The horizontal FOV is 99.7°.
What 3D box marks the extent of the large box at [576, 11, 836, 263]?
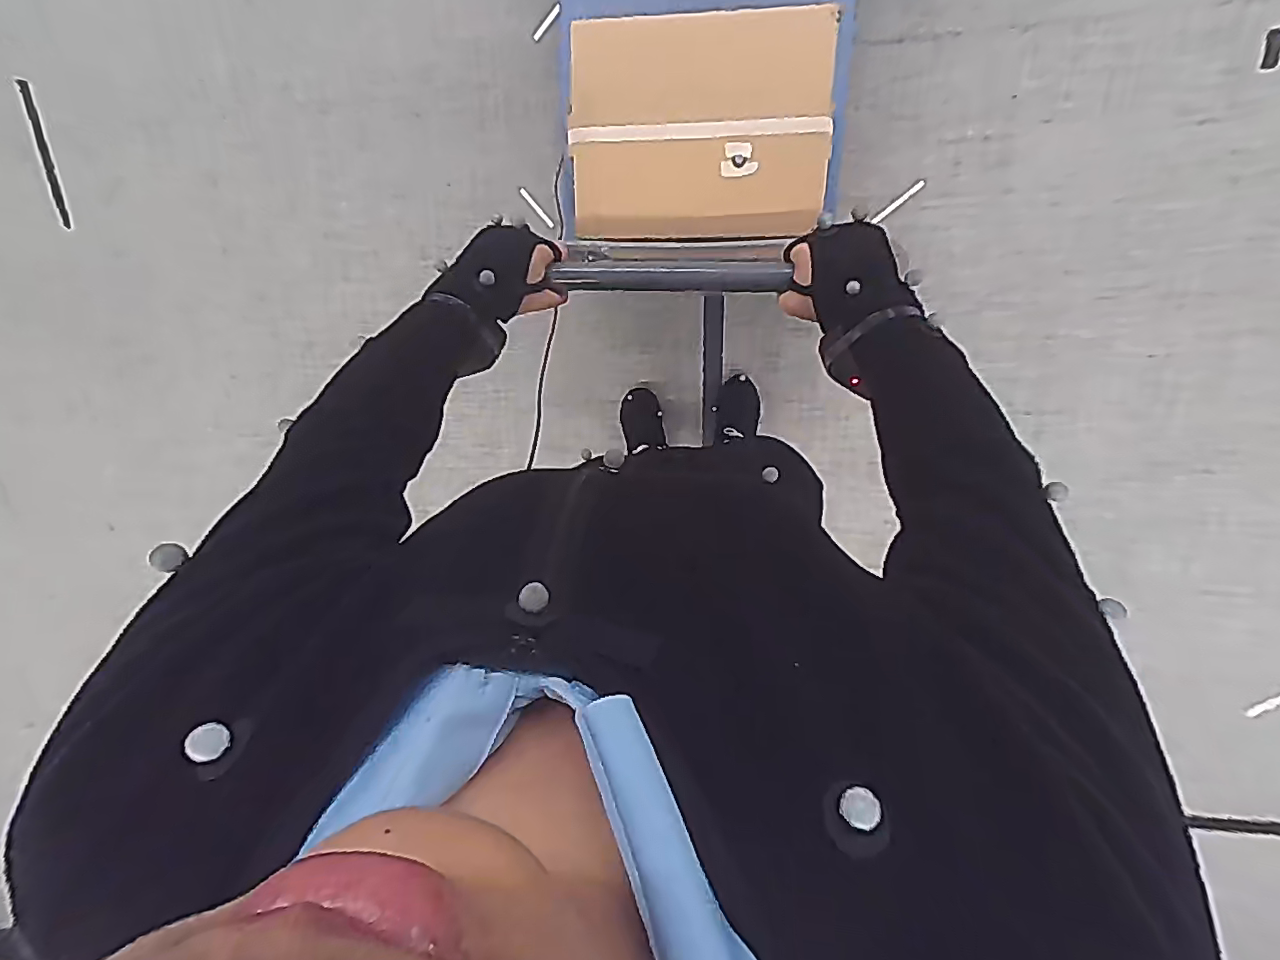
[{"bbox_3d":[0.113,-0.593,1.009,0.408,0.320,0.320,2,107,7],"label":"large box"}]
